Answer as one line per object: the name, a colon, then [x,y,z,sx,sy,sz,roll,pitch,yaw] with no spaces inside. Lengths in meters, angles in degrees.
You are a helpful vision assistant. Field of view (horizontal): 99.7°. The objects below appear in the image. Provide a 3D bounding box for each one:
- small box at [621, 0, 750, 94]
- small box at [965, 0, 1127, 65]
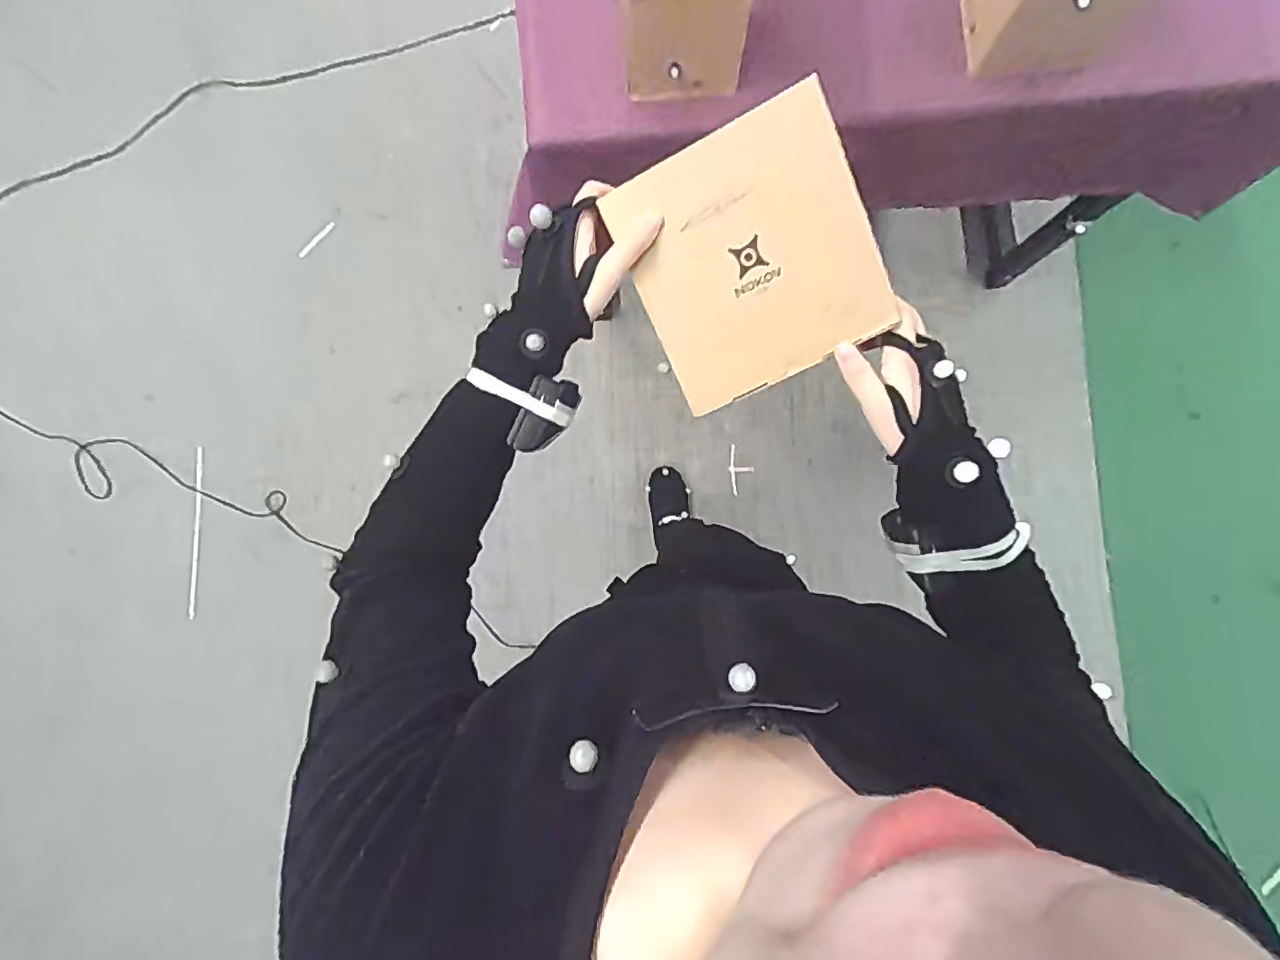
small box: [0.055,-0.690,0.760,0.168,0.176,0.179,-3,85,1]
small box: [0.576,-0.717,0.747,0.179,0.176,0.168,-3,85,1]
